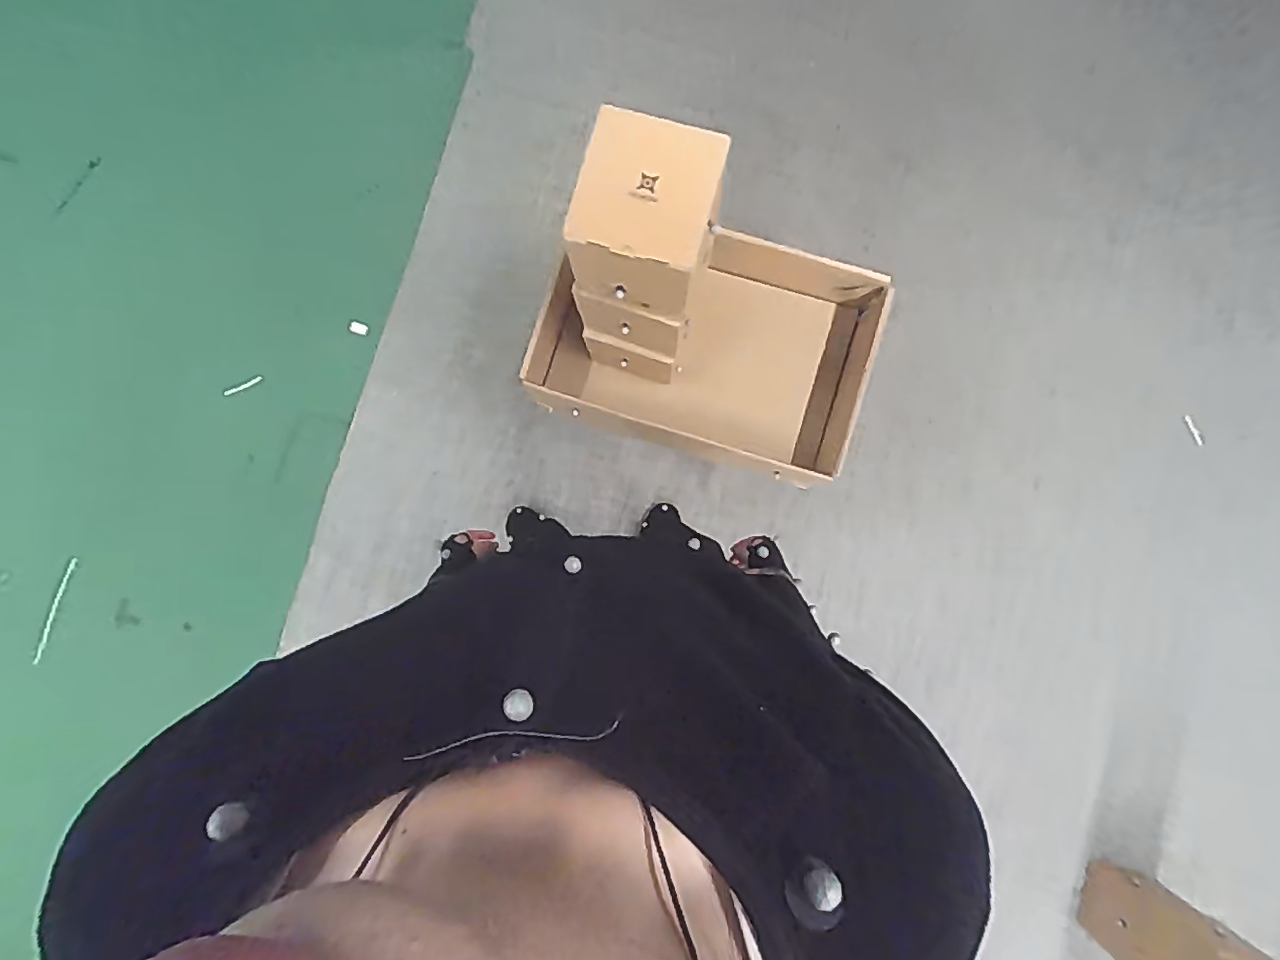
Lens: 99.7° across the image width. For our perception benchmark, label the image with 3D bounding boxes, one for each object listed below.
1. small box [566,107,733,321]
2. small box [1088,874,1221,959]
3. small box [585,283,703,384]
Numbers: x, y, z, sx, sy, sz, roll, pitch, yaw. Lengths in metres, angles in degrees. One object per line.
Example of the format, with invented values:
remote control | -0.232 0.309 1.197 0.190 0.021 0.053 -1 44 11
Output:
small box | 0.012 -0.342 0.726 0.168 0.176 0.179 16 86 3
small box | 1.253 1.121 1.326 0.168 0.176 0.179 15 86 3
small box | 0.009 -0.298 1.049 0.179 0.176 0.168 19 86 2
